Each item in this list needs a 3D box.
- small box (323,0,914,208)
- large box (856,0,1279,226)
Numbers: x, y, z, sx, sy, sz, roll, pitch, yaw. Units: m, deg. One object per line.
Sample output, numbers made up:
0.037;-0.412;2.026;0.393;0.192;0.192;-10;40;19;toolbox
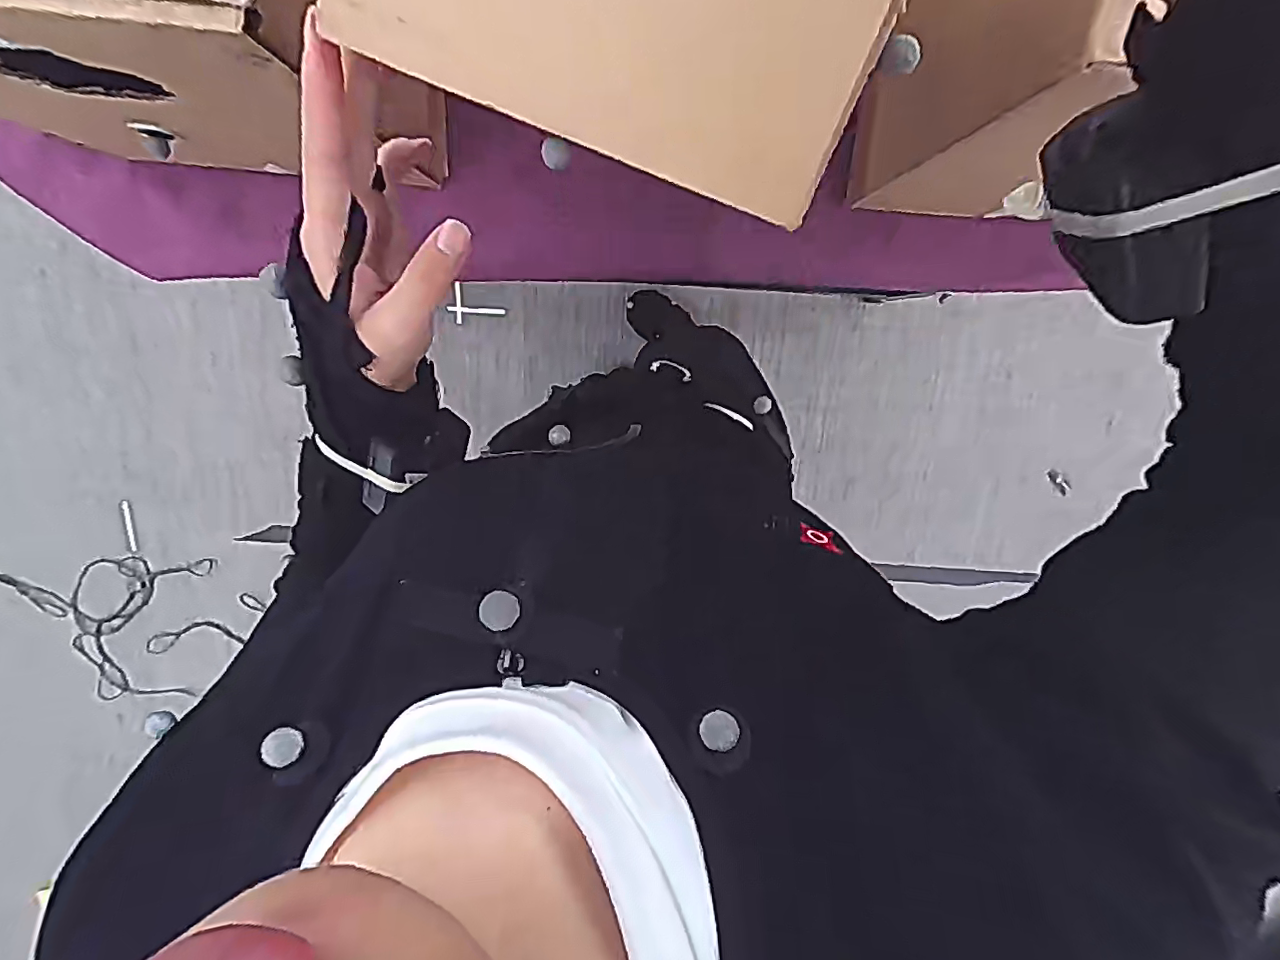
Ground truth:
0.021;-0.214;0.201;0.179;0.176;0.168;24;119;3;small box
0.373;-0.418;0.361;0.320;0.320;0.408;2;104;-2;large box
